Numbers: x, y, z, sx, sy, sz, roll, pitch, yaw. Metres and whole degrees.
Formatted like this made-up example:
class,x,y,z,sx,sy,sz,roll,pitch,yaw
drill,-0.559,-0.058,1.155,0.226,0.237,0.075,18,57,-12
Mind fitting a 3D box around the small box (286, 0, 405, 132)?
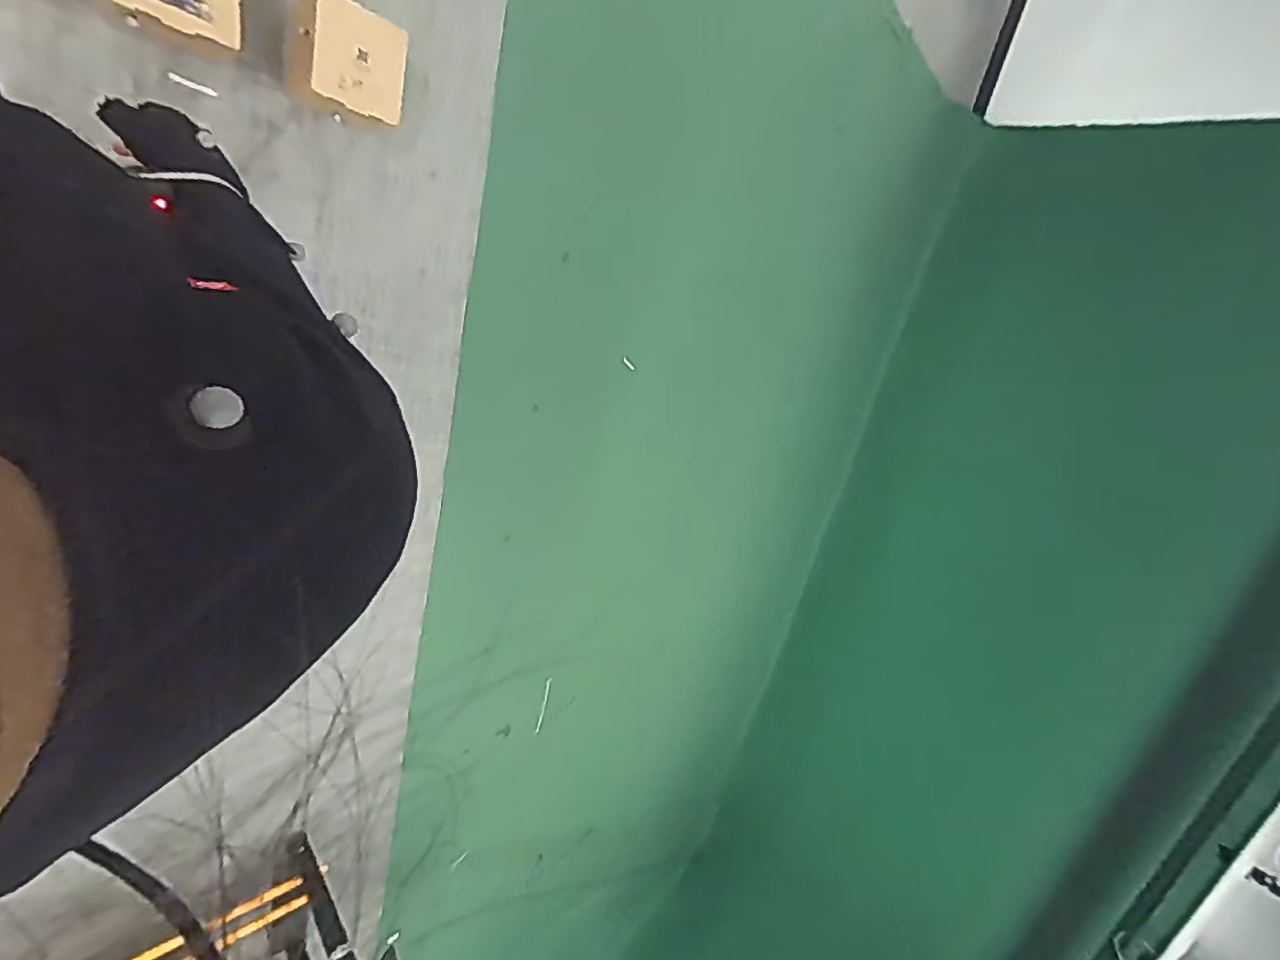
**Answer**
class,x,y,z,sx,sy,sz,roll,pitch,yaw
small box,-0.608,-0.845,1.110,0.168,0.176,0.179,-3,114,-47
